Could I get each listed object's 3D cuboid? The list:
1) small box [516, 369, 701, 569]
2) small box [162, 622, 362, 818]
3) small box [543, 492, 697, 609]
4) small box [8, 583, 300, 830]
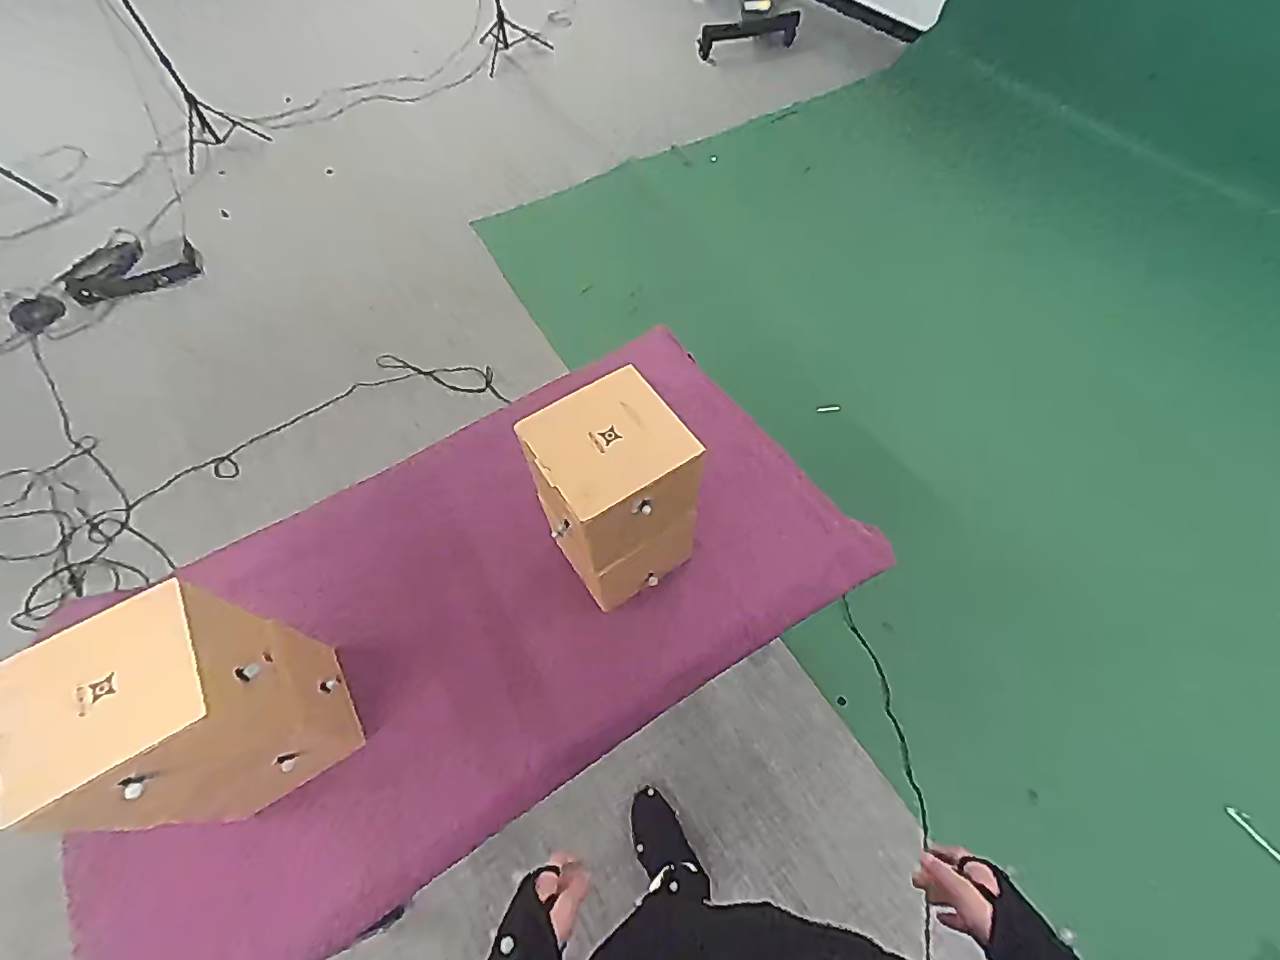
[{"bbox_3d":[-0.036,-0.008,0.722,0.179,0.176,0.168,-30,64,-14],"label":"small box"},{"bbox_3d":[-0.509,0.326,0.738,0.179,0.176,0.168,-30,62,-15],"label":"small box"},{"bbox_3d":[-0.030,0.076,0.864,0.179,0.176,0.168,-31,63,-15],"label":"small box"},{"bbox_3d":[-0.513,0.247,0.597,0.179,0.176,0.168,-30,64,-14],"label":"small box"}]
